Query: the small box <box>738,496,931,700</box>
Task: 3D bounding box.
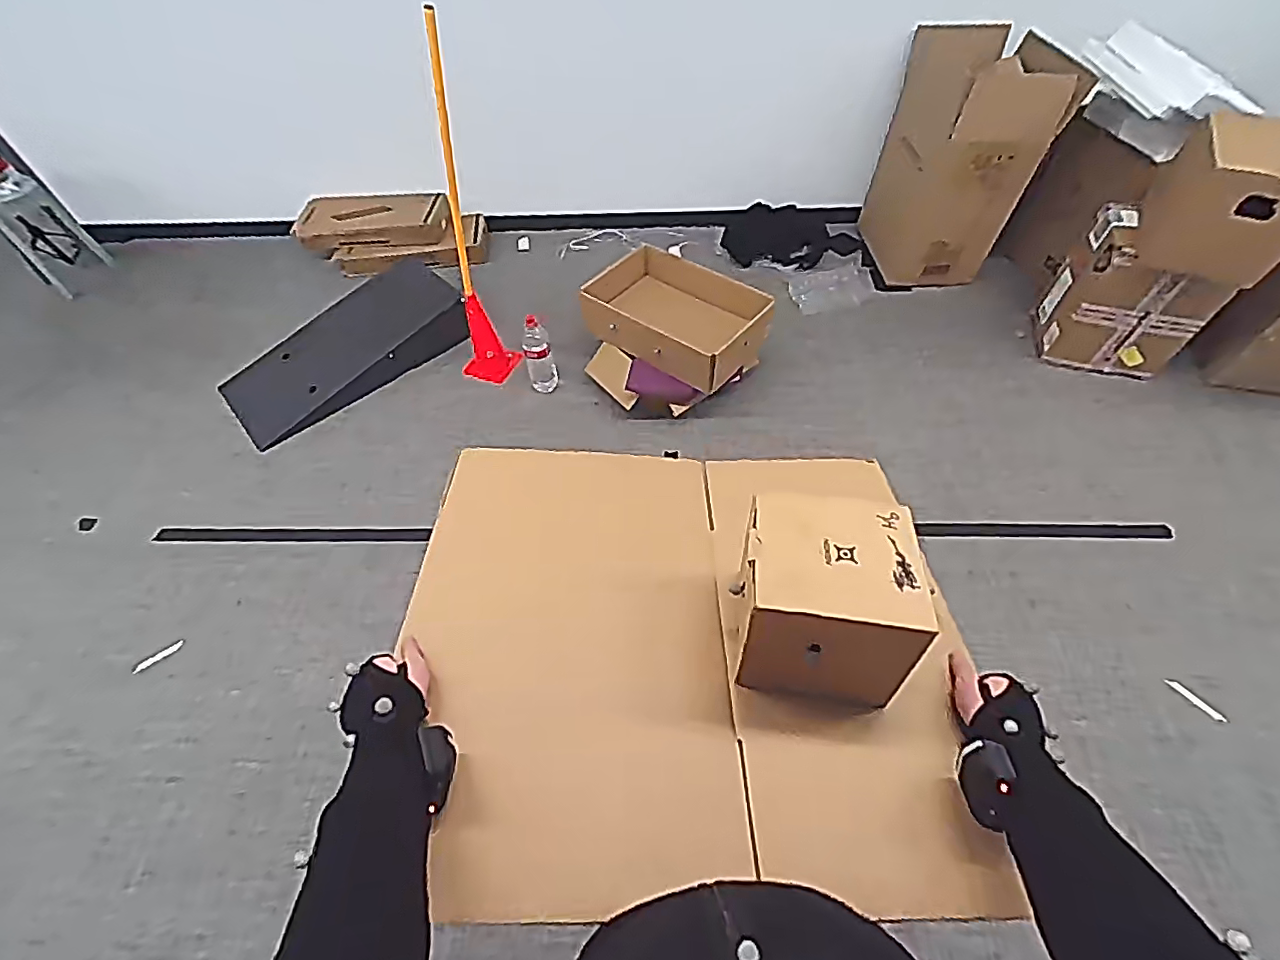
[{"bbox_3d":[0.211,0.140,0.639,0.179,0.176,0.168,5,45,8],"label":"small box"}]
